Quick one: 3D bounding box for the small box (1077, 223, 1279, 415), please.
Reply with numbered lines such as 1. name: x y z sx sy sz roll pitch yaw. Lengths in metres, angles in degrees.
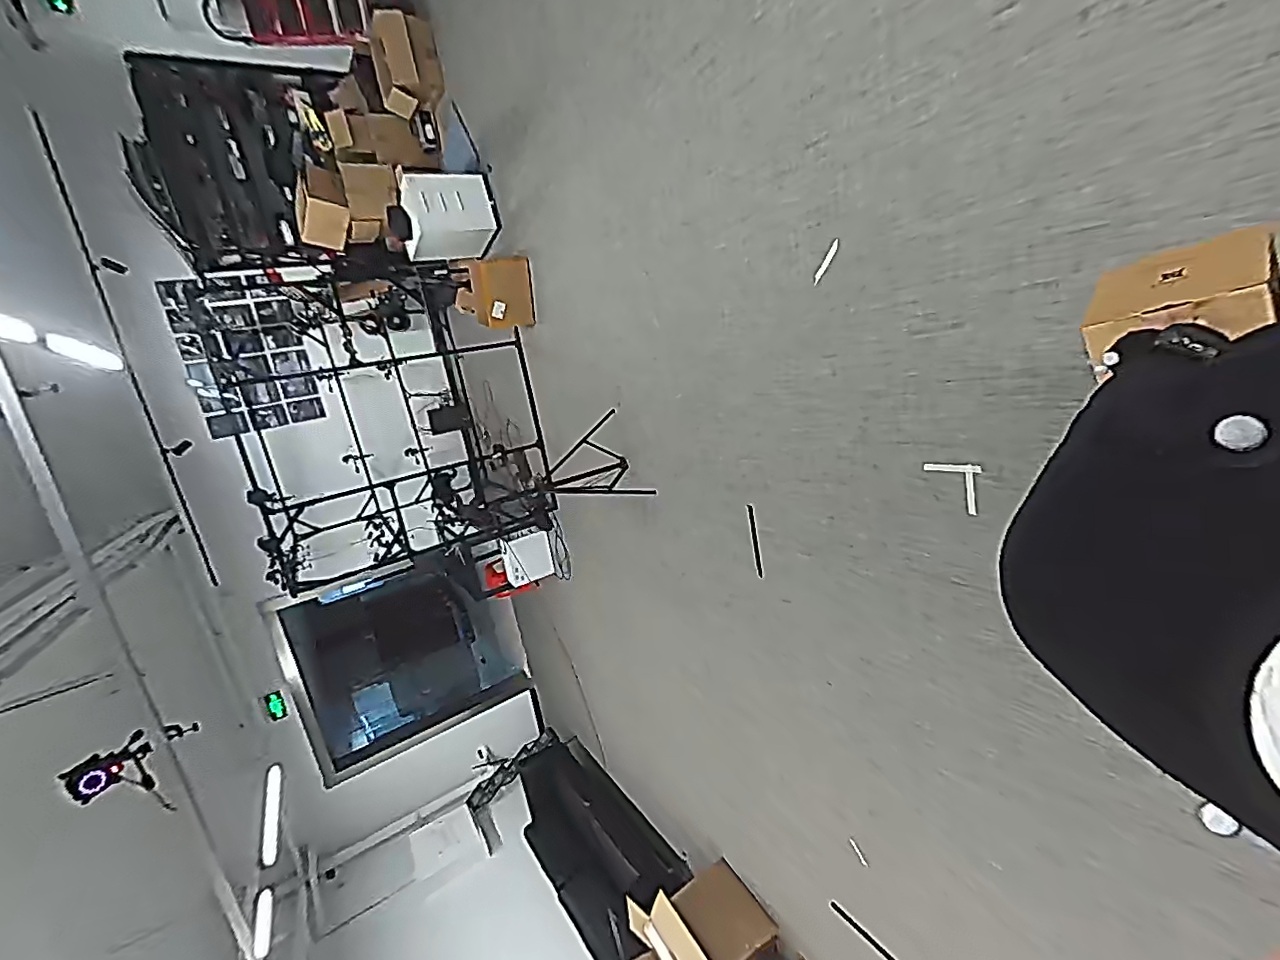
1. small box: 0.723 -0.199 0.723 0.168 0.179 0.176 -7 123 53
